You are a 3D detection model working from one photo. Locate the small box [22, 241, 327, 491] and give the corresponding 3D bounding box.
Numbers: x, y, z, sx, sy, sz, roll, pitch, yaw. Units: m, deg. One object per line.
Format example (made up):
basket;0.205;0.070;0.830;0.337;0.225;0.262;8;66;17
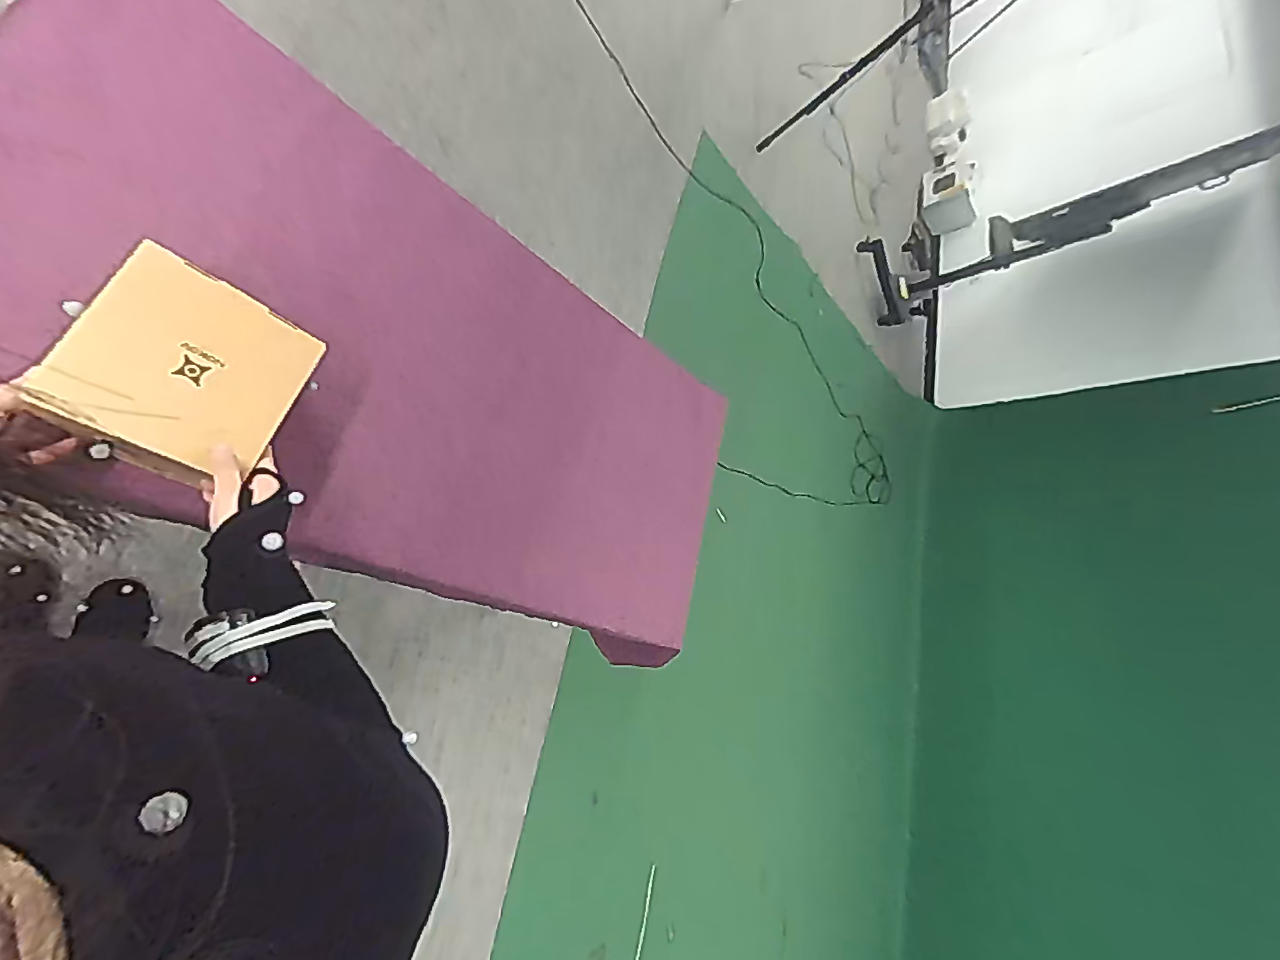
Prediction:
small box;-0.468;-0.100;0.565;0.168;0.176;0.179;34;62;-36
